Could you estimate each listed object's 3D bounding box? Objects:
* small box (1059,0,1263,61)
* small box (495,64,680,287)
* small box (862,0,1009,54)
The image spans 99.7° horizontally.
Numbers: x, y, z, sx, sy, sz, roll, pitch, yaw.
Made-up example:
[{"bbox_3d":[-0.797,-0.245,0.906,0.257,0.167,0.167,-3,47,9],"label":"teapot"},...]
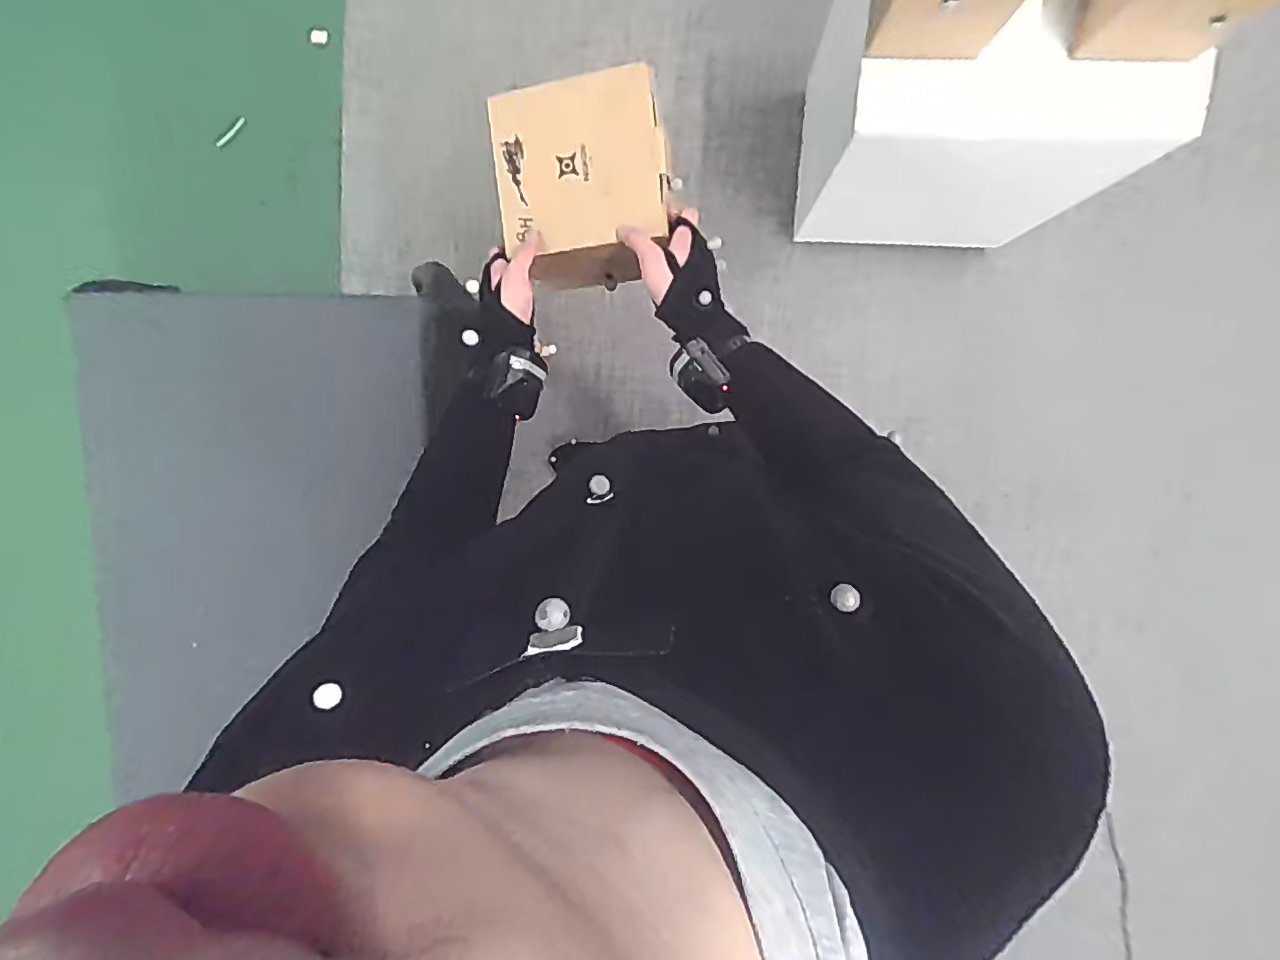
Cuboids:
[{"bbox_3d":[0.724,-0.706,0.729,0.179,0.176,0.168,5,97,5],"label":"small box"},{"bbox_3d":[-0.045,-0.331,0.625,0.179,0.176,0.168,-5,98,8],"label":"small box"},{"bbox_3d":[0.425,-0.729,0.745,0.179,0.176,0.168,3,98,2],"label":"small box"}]
